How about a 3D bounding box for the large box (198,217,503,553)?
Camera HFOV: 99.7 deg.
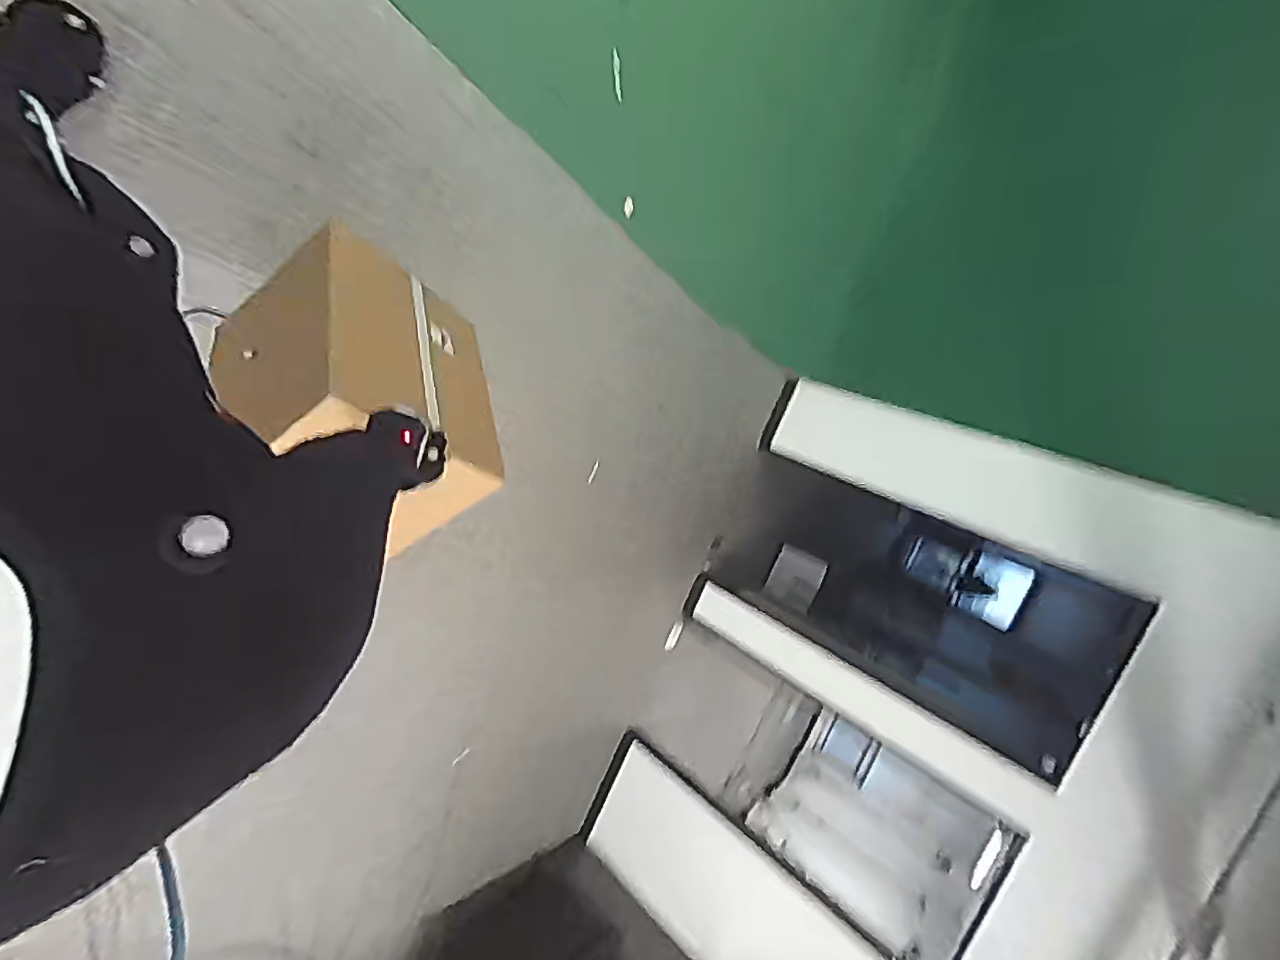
[{"bbox_3d":[-0.487,-0.141,0.929,0.320,0.408,0.320,-32,147,16],"label":"large box"}]
